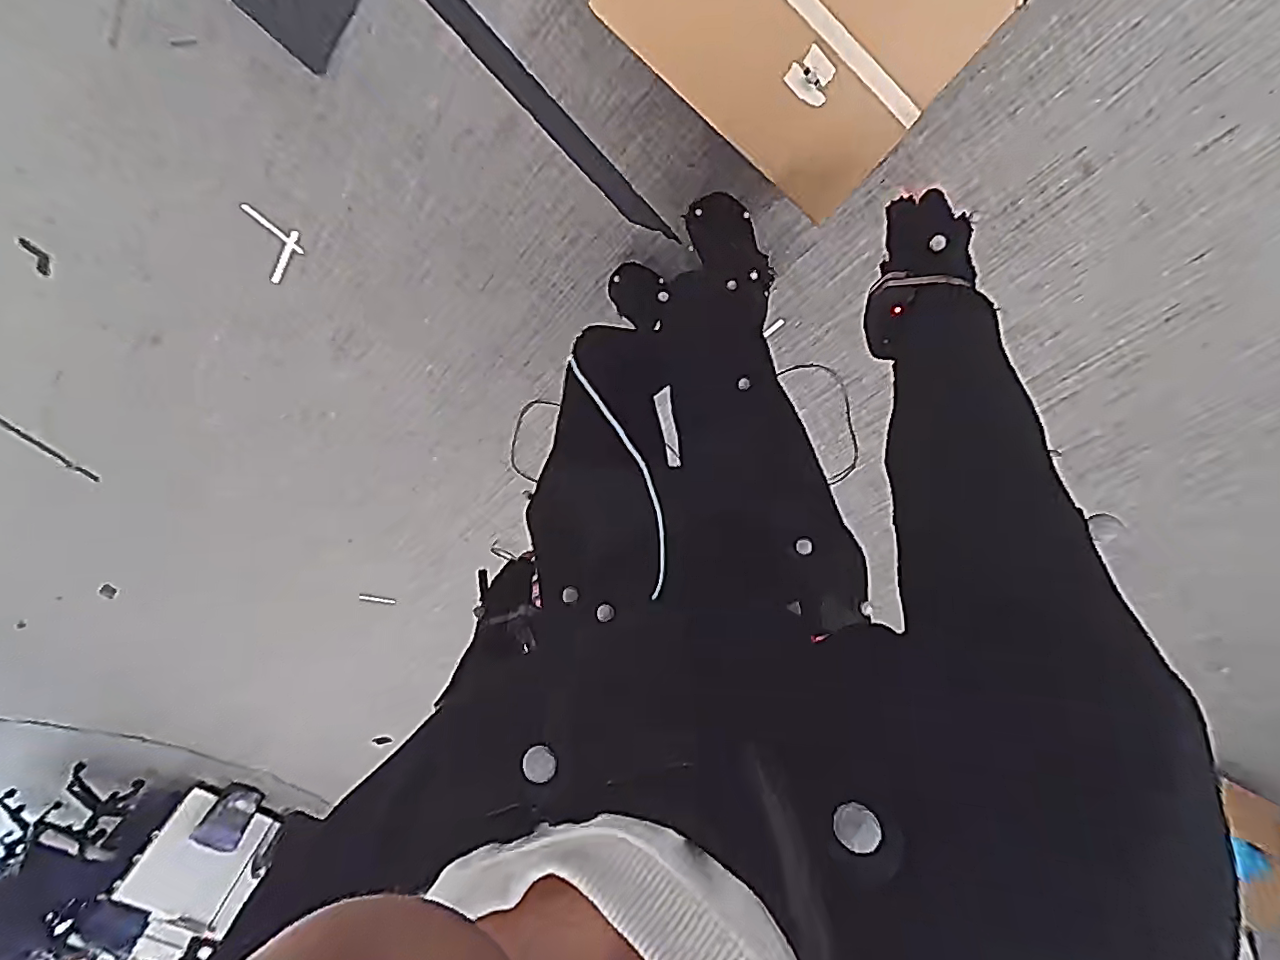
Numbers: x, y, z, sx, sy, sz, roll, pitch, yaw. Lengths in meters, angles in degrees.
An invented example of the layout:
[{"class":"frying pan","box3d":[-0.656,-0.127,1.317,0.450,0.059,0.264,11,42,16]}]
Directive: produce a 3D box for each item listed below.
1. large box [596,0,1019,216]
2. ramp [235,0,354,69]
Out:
[{"class":"large box","box3d":[0.207,-0.654,0.746,0.408,0.320,0.320,34,126,-16]},{"class":"ramp","box3d":[-0.771,-1.124,0.629,0.991,0.206,0.509,41,122,-21]}]
